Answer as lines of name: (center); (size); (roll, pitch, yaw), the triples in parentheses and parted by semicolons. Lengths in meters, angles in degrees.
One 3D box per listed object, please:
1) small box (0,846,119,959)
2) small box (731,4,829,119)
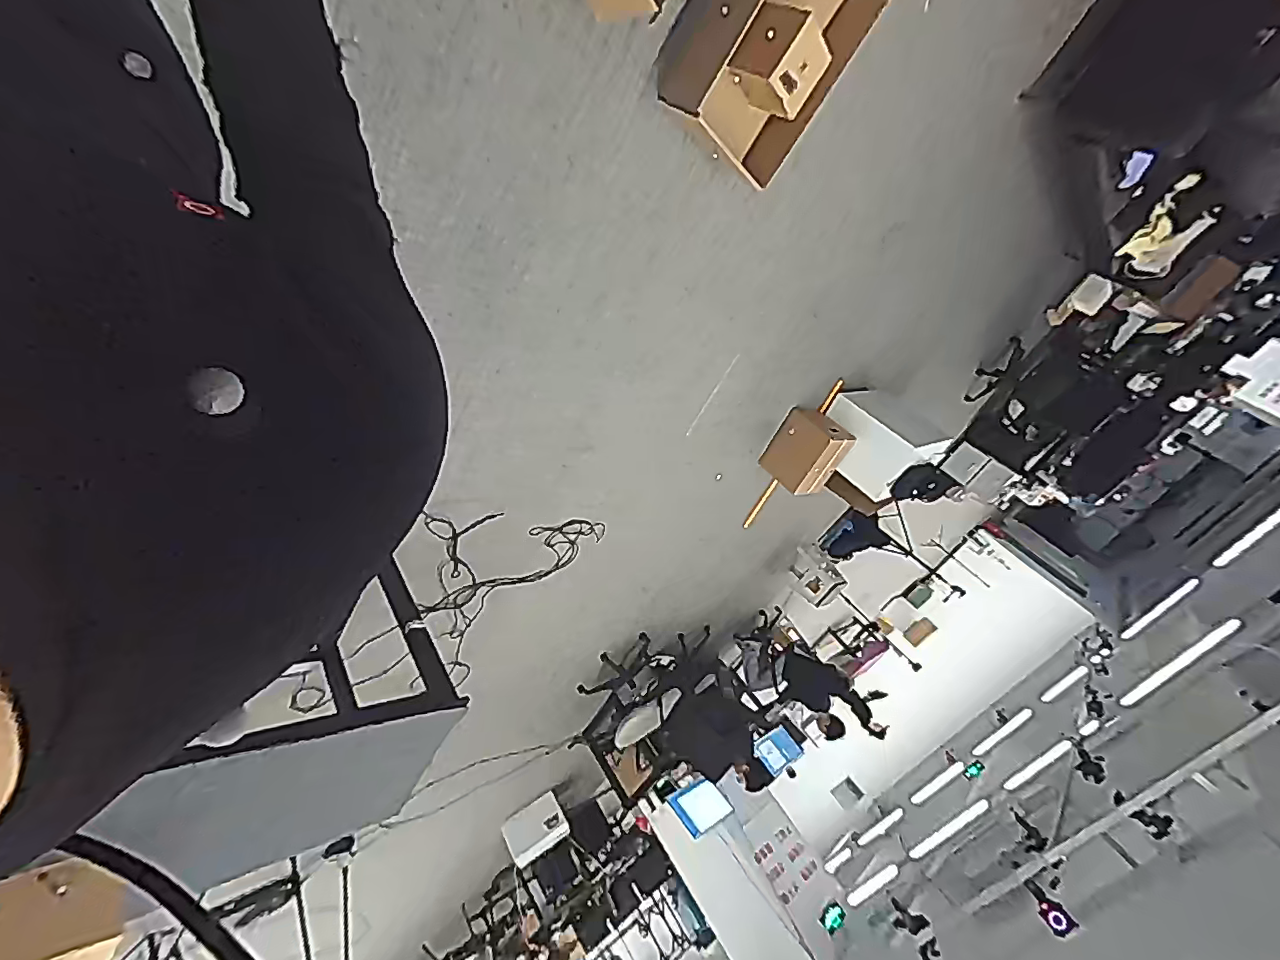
small box: (-1.082, 0.814, 0.978); (0.179, 0.176, 0.168); (-53, 147, 16)
small box: (0.374, -1.142, 1.476); (0.168, 0.176, 0.179); (12, 118, -53)
